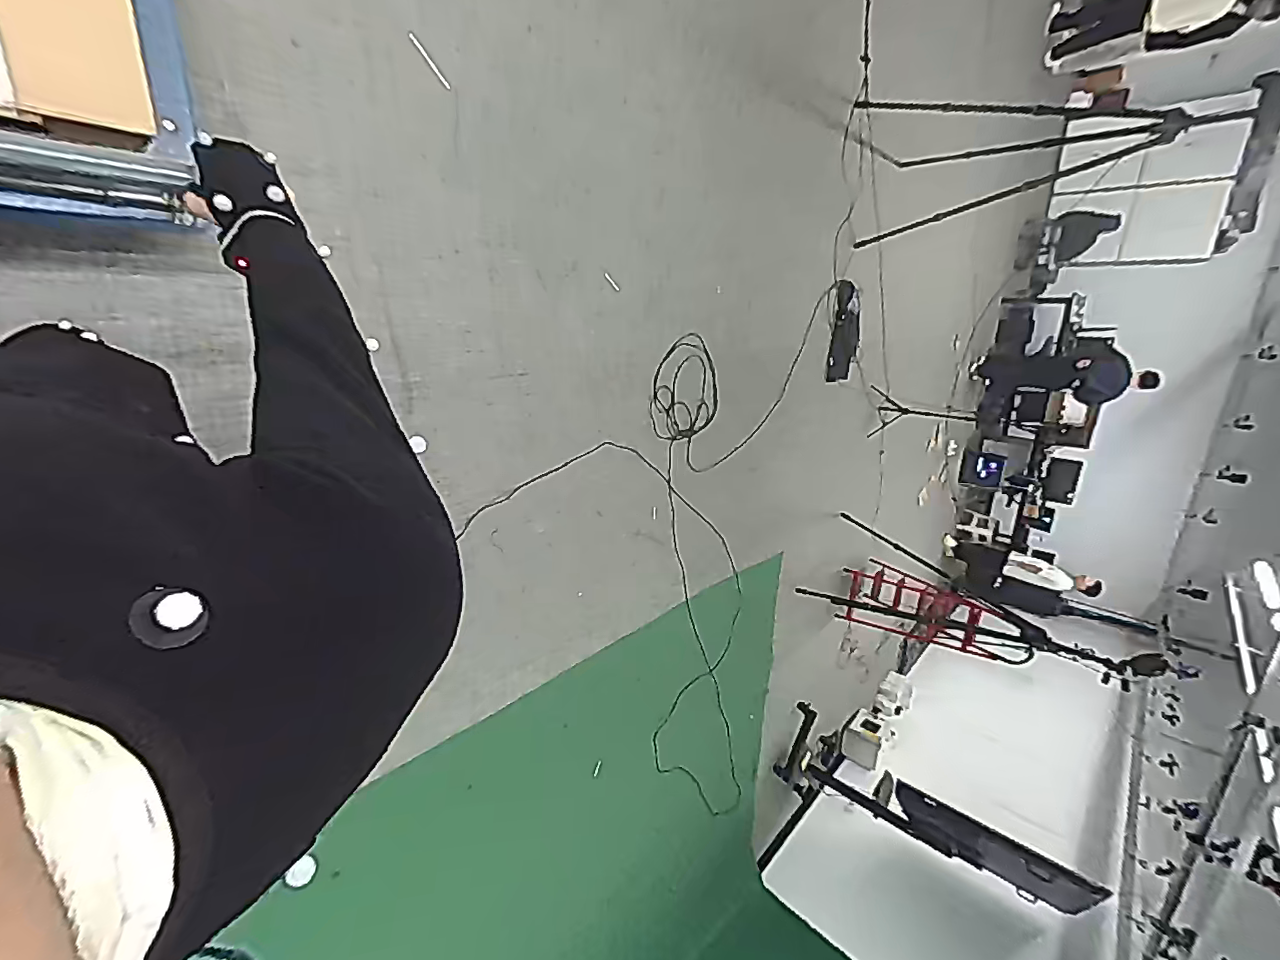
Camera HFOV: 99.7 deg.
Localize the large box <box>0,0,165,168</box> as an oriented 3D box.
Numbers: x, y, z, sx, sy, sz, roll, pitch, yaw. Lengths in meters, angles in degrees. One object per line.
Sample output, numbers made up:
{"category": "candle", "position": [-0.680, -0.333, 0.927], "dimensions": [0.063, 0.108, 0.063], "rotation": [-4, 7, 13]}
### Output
{"category": "large box", "position": [-0.925, -0.706, 0.750], "dimensions": [0.320, 0.320, 0.408], "rotation": [-16, 113, -45]}
